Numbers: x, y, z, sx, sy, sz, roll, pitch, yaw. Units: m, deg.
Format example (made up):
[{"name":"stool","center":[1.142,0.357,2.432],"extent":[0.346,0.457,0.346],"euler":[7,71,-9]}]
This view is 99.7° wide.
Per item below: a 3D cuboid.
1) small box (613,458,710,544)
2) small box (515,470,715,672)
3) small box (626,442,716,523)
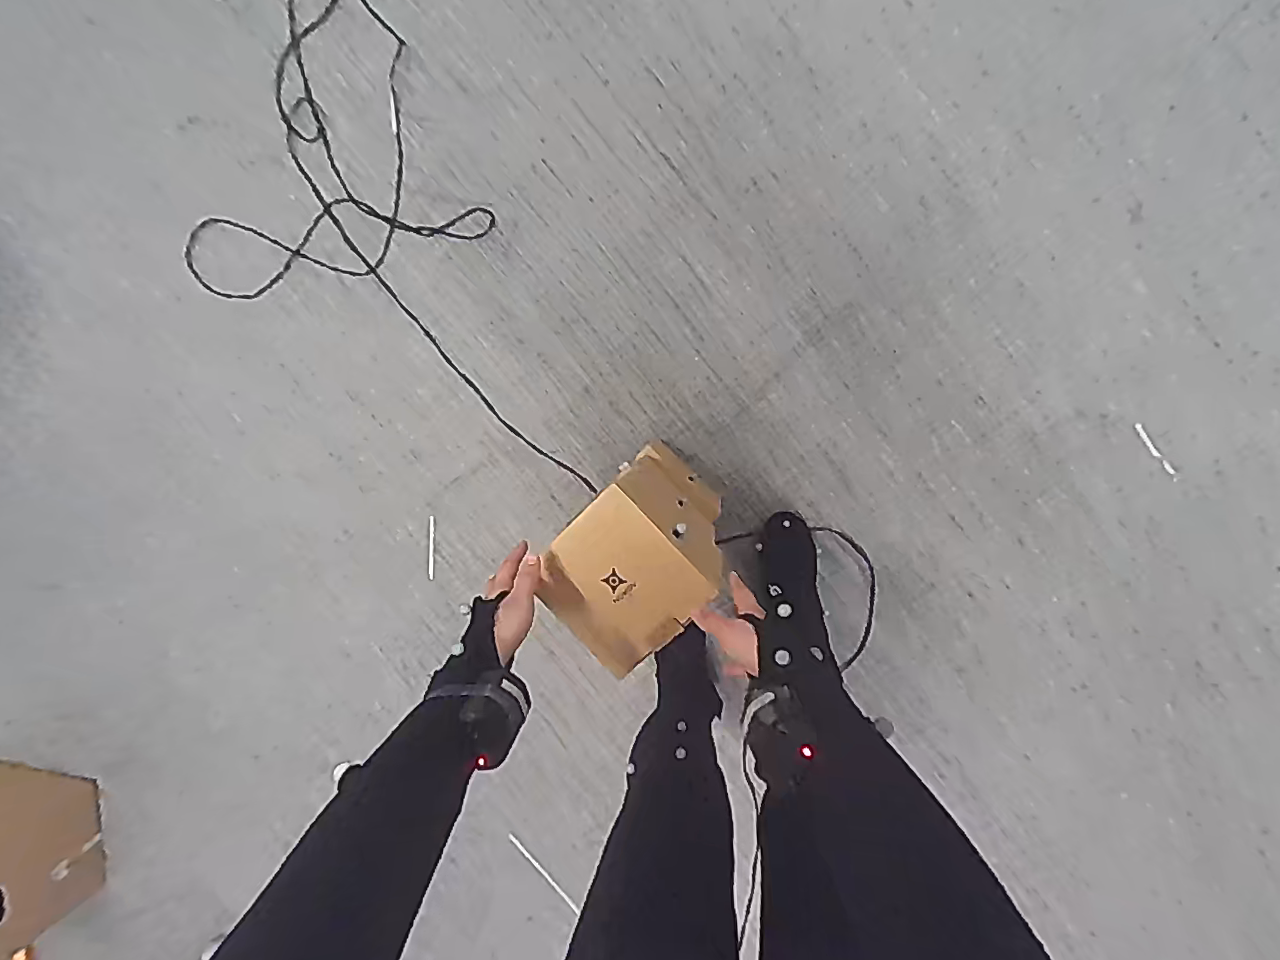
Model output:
[{"name":"small box","center":[-0.007,0.079,0.856],"extent":[0.168,0.176,0.179],"euler":[-43,91,12]},{"name":"small box","center":[-0.022,0.101,0.696],"extent":[0.179,0.176,0.168],"euler":[45,102,-1]},{"name":"small box","center":[0.027,0.041,1.013],"extent":[0.179,0.176,0.168],"euler":[43,101,1]}]
